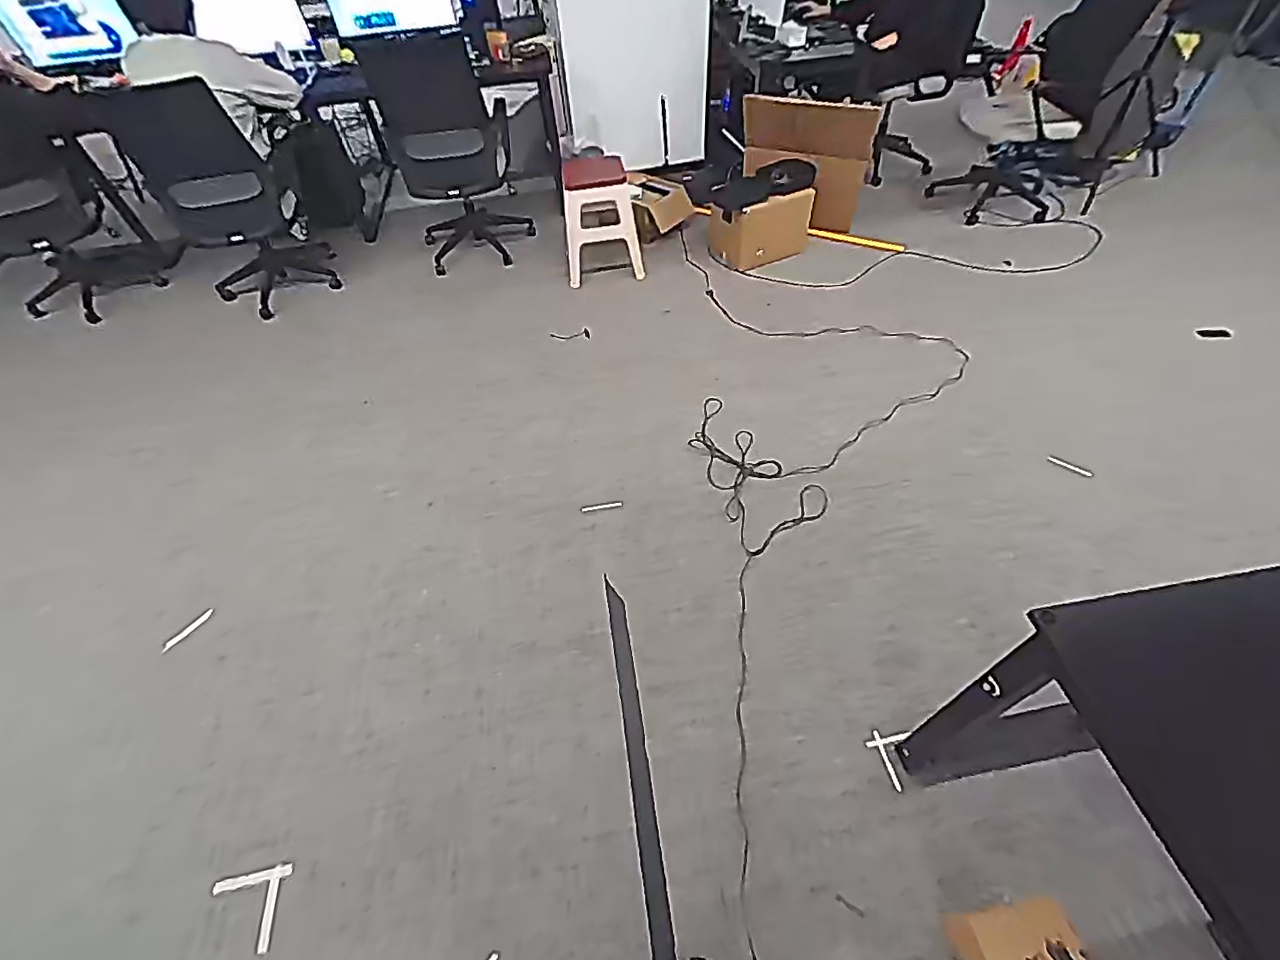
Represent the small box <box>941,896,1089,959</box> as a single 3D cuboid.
[{"bbox_3d":[0.713,0.904,1.019,0.179,0.176,0.168,-11,50,-3],"label":"small box"}]
